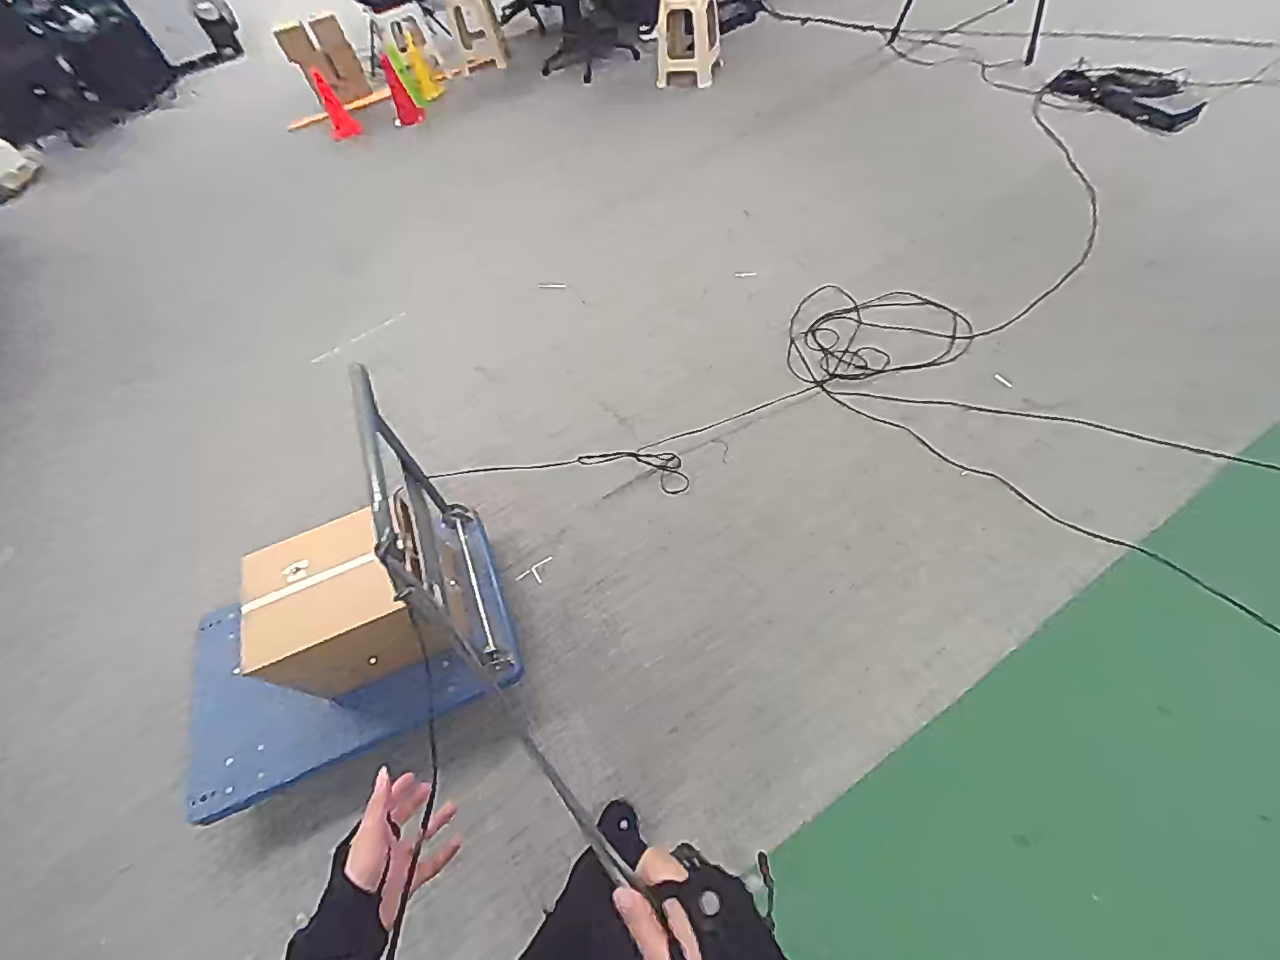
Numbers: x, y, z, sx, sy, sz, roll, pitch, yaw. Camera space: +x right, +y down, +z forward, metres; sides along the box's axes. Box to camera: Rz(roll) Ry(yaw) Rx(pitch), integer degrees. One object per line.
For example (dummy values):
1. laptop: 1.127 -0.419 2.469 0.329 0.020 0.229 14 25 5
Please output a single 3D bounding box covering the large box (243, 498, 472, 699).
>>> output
1. large box: -0.706 0.311 1.385 0.408 0.320 0.320 -23 58 -5
